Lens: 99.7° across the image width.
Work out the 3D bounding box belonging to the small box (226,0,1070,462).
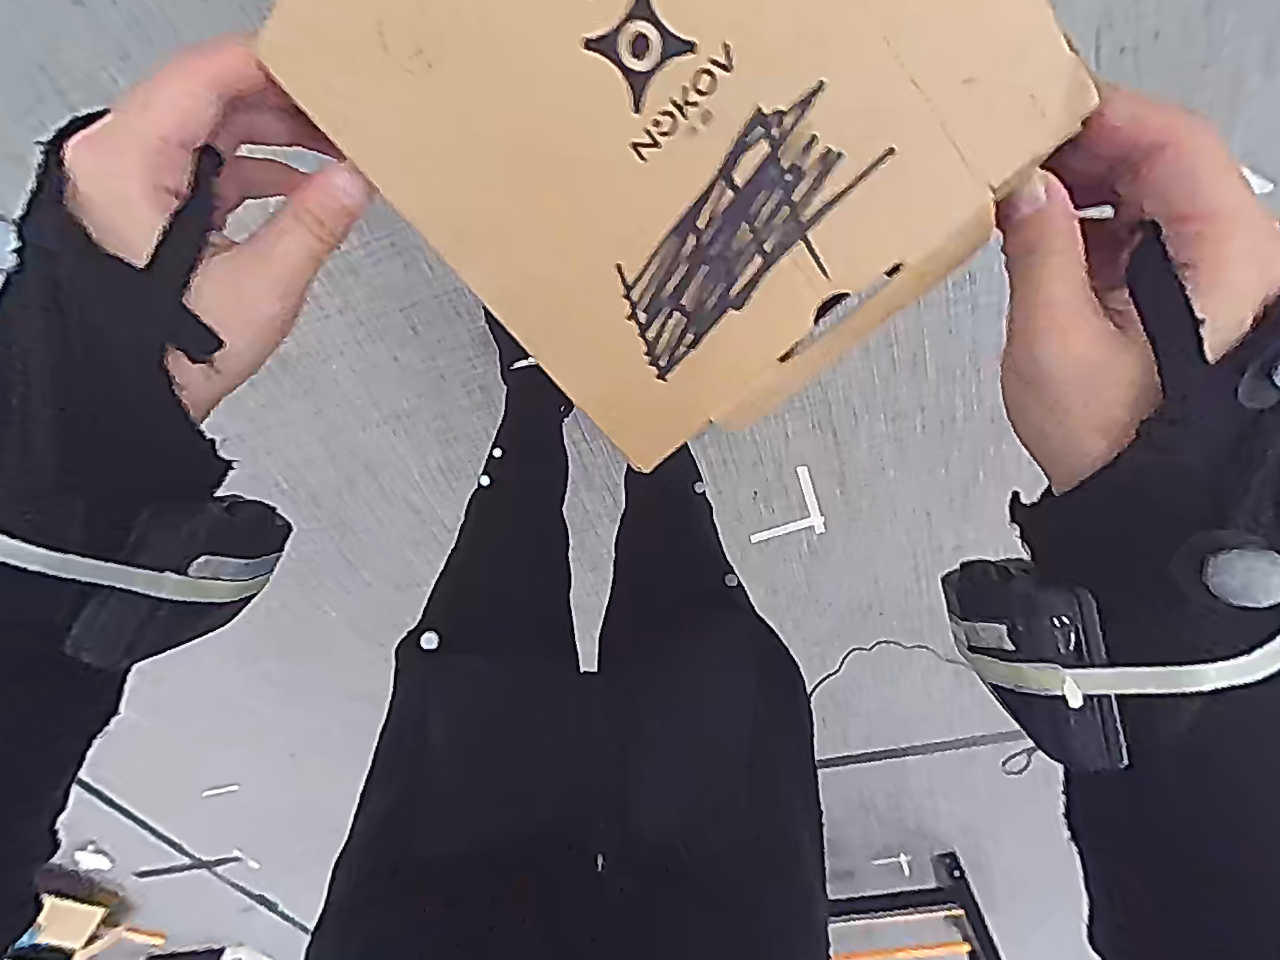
[{"bbox_3d":[0.006,-0.143,0.221,0.168,0.176,0.179,-39,104,18],"label":"small box"}]
